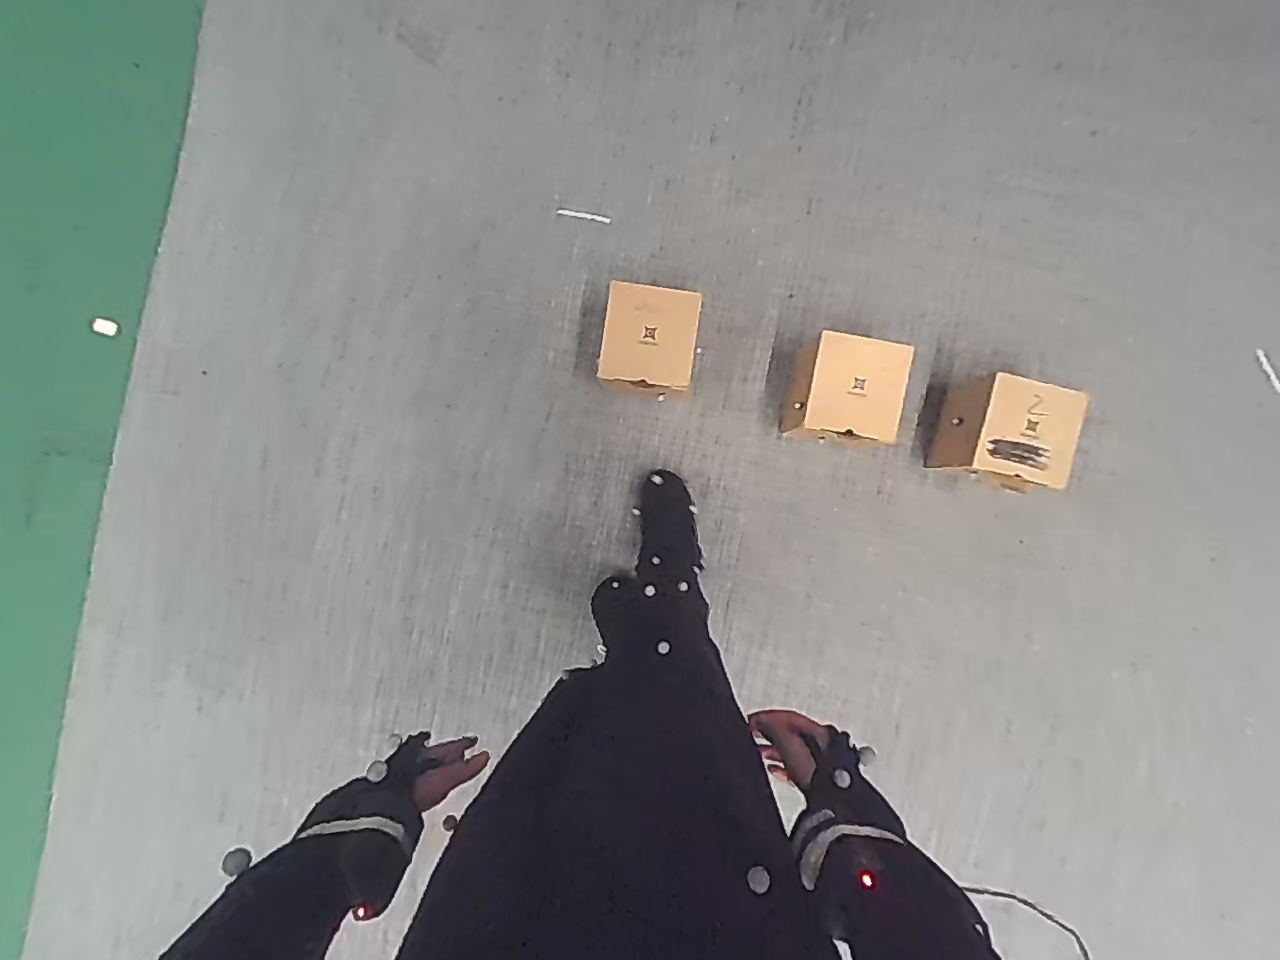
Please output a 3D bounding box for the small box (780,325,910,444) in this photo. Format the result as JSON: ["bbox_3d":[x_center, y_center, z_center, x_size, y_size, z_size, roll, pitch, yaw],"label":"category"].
[{"bbox_3d":[0.374,-0.171,1.020,0.168,0.176,0.179,11,91,0],"label":"small box"}]

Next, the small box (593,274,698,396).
[{"bbox_3d":[0.011,-0.263,1.024,0.168,0.176,0.179,8,90,0],"label":"small box"}]
